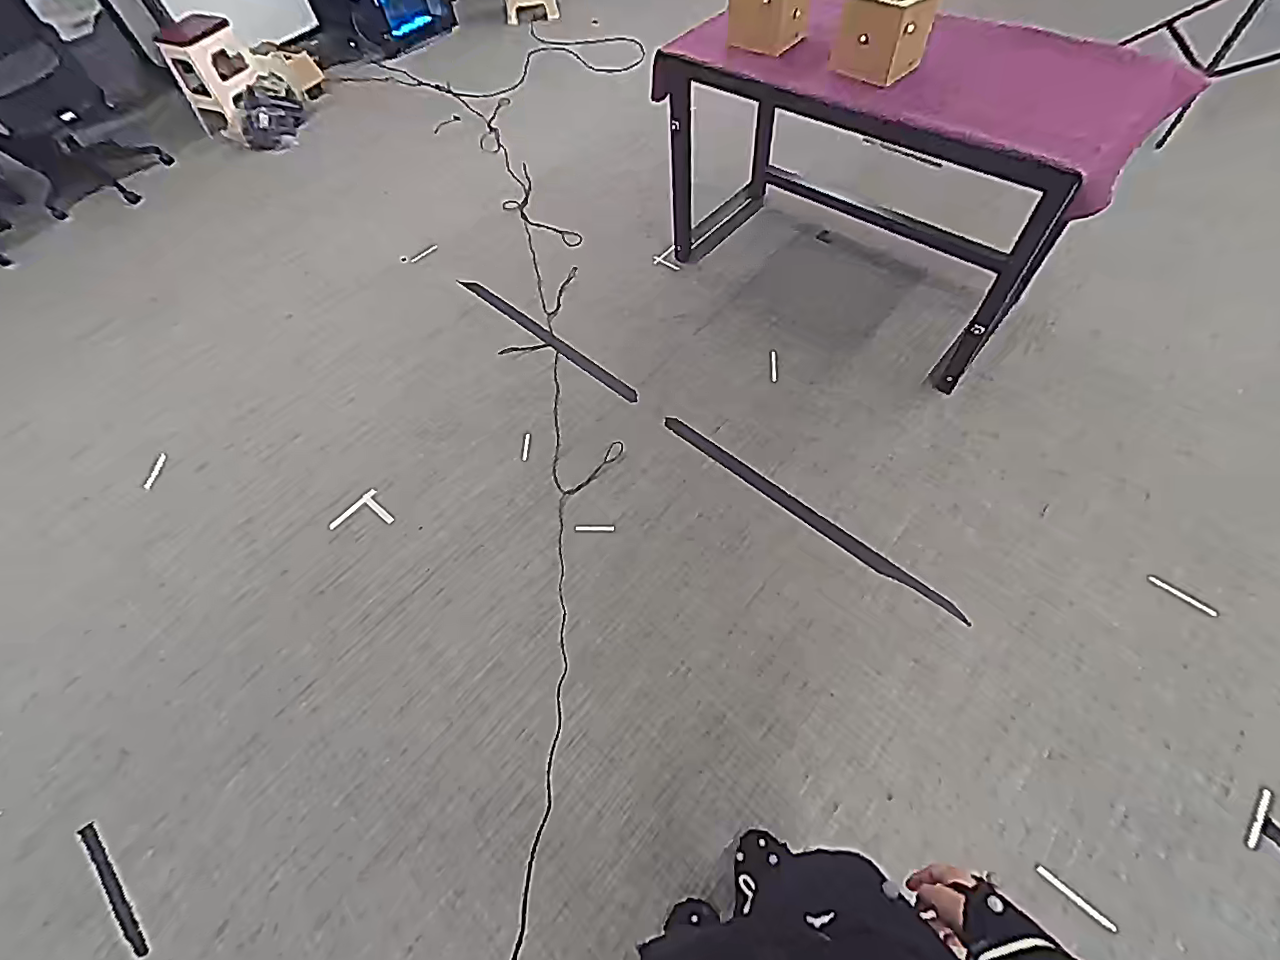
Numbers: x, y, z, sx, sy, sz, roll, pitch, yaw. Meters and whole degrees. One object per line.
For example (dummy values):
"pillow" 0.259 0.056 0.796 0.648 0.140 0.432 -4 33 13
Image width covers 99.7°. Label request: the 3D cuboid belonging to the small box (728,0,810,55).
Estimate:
"small box" 0.368 -1.335 1.524 0.179 0.176 0.168 34 66 23
